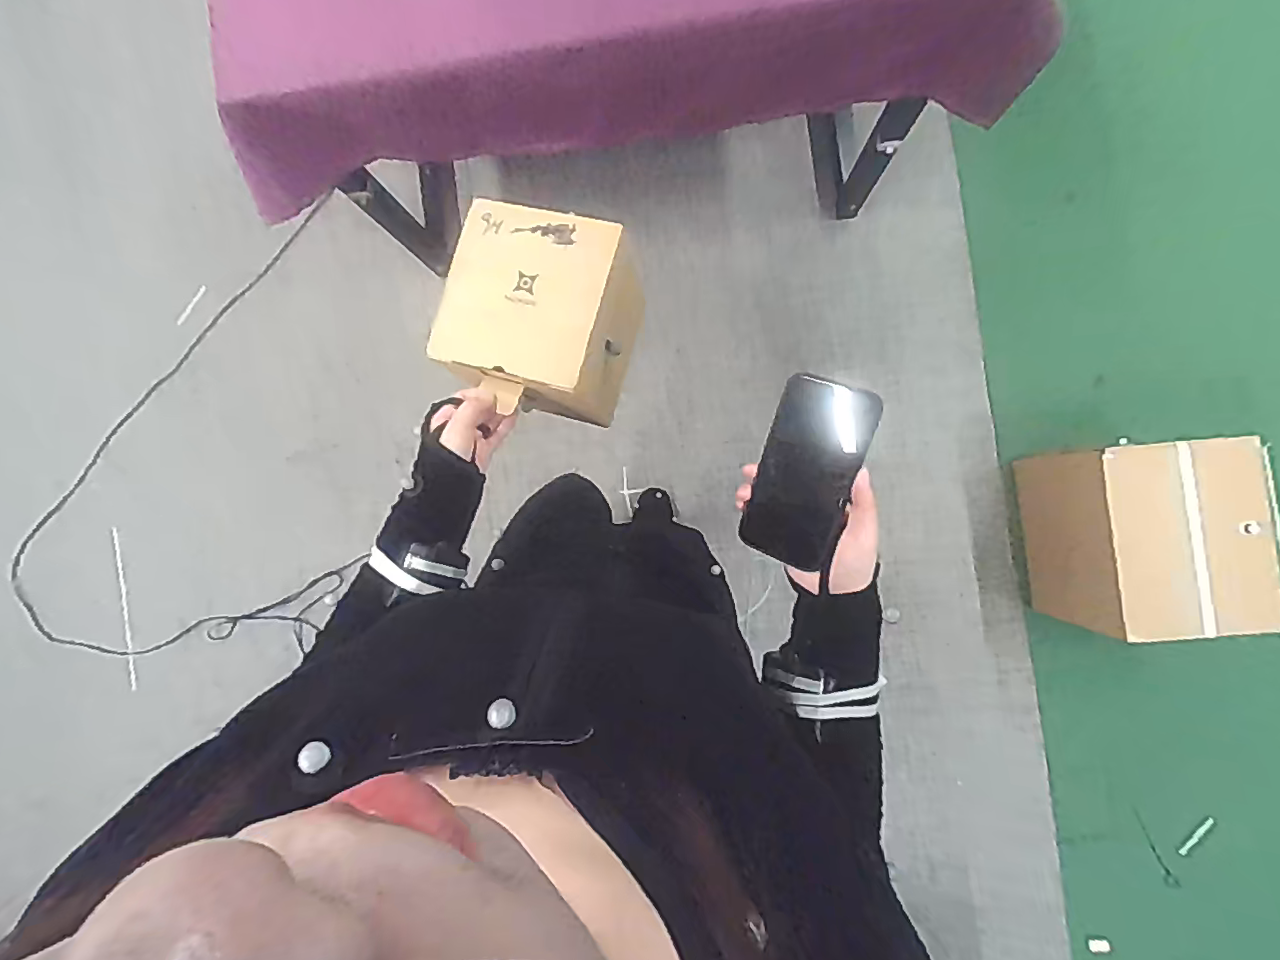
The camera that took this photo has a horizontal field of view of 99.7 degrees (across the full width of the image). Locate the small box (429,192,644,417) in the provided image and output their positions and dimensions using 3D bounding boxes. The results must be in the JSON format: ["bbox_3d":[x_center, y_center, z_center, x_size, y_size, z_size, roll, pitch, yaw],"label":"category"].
[{"bbox_3d":[-0.101,-0.183,0.613,0.168,0.176,0.179,16,87,10],"label":"small box"}]
